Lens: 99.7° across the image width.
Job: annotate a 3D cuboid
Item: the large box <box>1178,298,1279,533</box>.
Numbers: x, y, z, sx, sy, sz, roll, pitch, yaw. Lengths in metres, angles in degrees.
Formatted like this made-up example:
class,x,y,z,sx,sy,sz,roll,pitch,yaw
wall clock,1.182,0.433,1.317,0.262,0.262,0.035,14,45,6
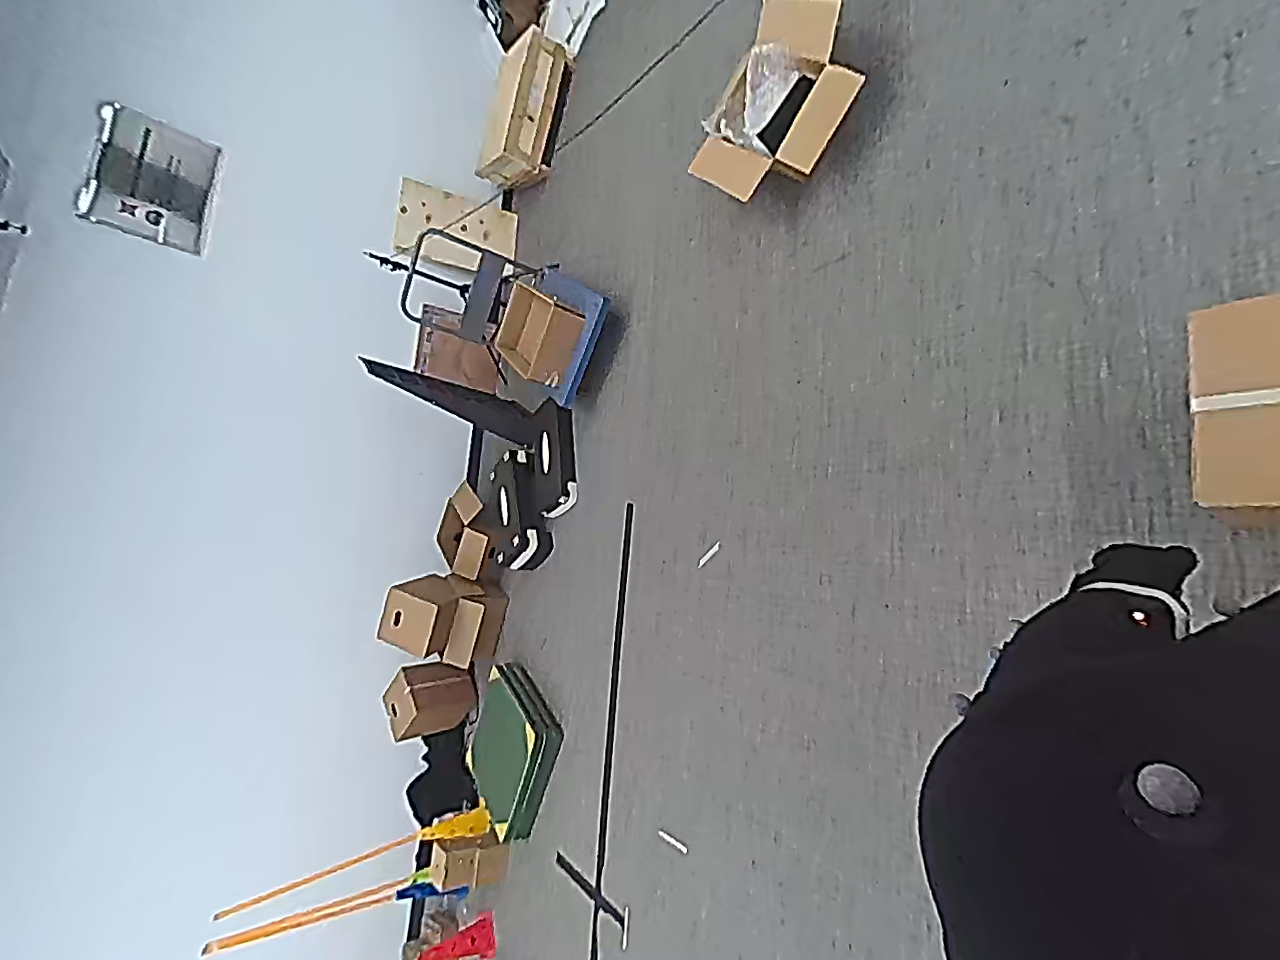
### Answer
class,x,y,z,sx,sy,sz,roll,pitch,yaw
large box,1.084,-0.094,0.775,0.408,0.320,0.320,-5,78,52
